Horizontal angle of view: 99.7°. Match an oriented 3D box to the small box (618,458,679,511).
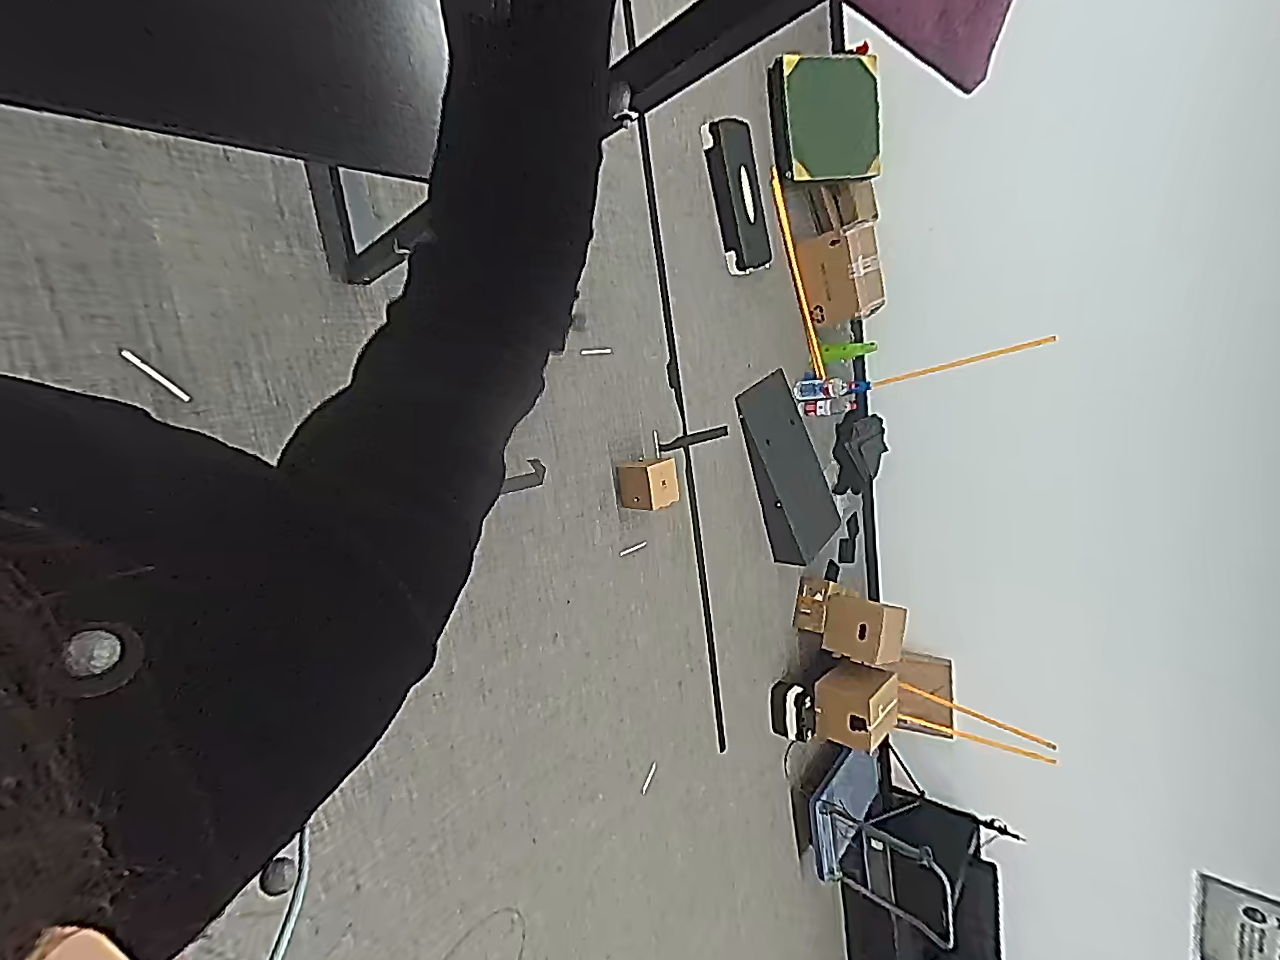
[{"bbox_3d":[0.032,0.013,2.142,0.168,0.176,0.179,-19,105,-44],"label":"small box"}]
